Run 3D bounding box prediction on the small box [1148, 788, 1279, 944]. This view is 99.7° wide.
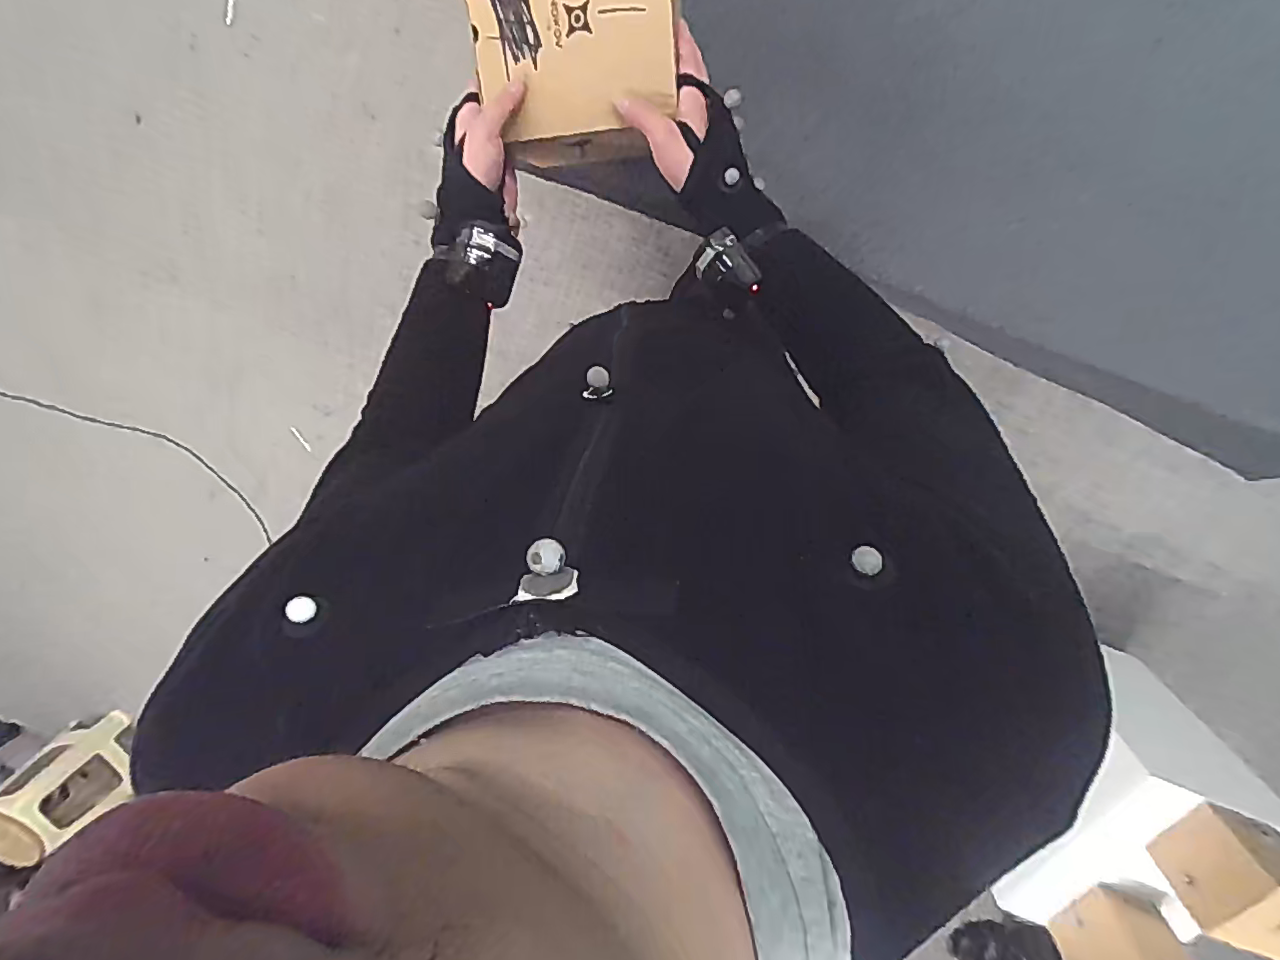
[{"bbox_3d":[1.179,0.758,1.071,0.168,0.176,0.179,18,113,-4],"label":"small box"}]

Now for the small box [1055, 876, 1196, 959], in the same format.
[{"bbox_3d":[1.070,1.027,1.190,0.168,0.176,0.179,22,113,-4],"label":"small box"}]

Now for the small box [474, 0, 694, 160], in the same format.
[{"bbox_3d":[-0.040,-0.407,0.498,0.179,0.176,0.168,-3,112,5],"label":"small box"}]
